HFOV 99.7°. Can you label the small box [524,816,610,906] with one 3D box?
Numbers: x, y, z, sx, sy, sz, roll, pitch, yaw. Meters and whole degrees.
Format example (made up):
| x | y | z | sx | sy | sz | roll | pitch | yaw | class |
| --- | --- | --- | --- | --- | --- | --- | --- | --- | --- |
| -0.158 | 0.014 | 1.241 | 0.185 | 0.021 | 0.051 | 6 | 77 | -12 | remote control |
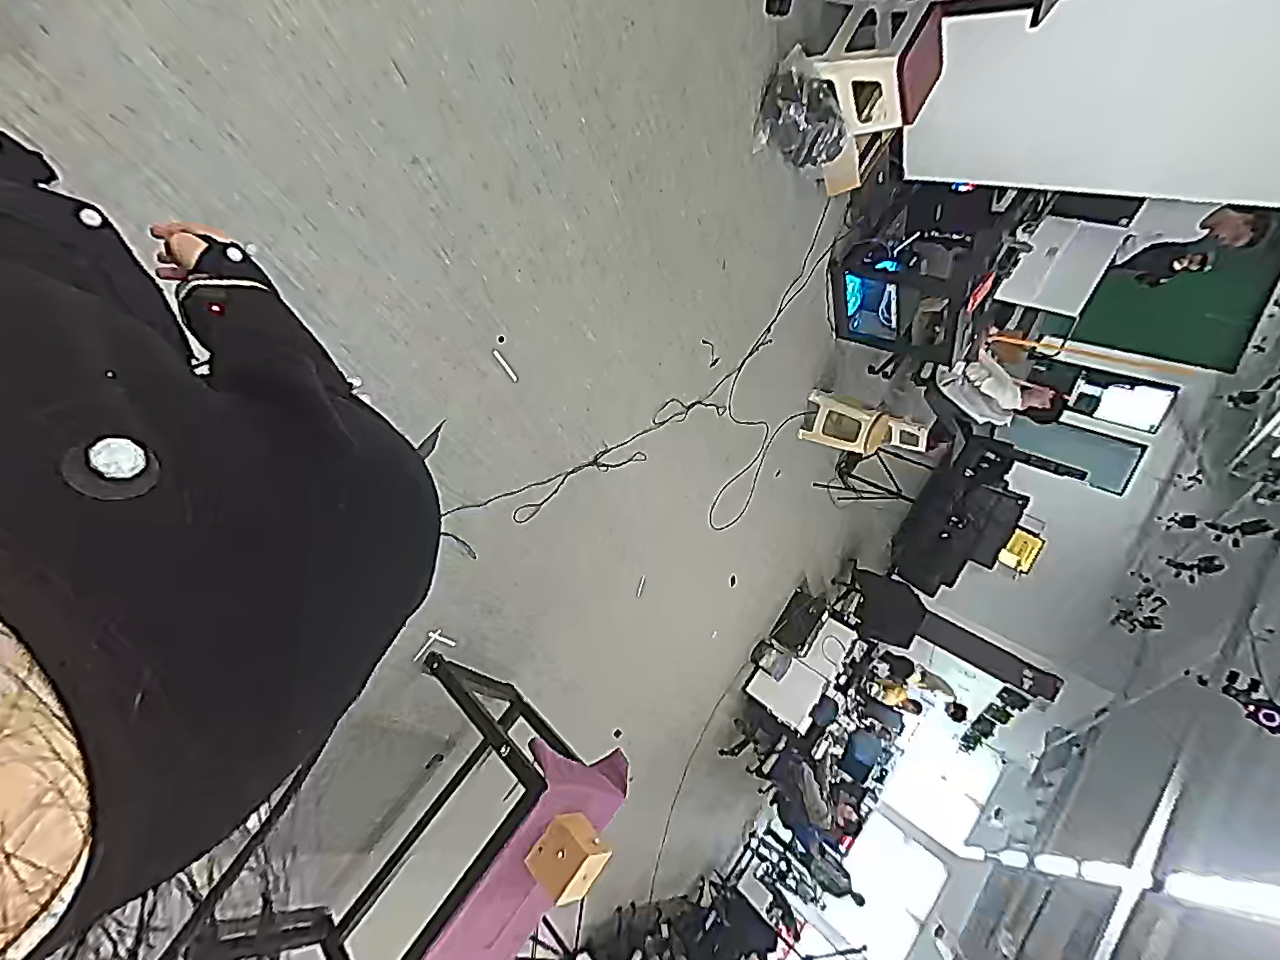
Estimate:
| x | y | z | sx | sy | sz | roll | pitch | yaw | class |
| --- | --- | --- | --- | --- | --- | --- | --- | --- | --- |
| -0.233 | 1.200 | 1.718 | 0.168 | 0.176 | 0.179 | -53 | 145 | -11 | small box |
